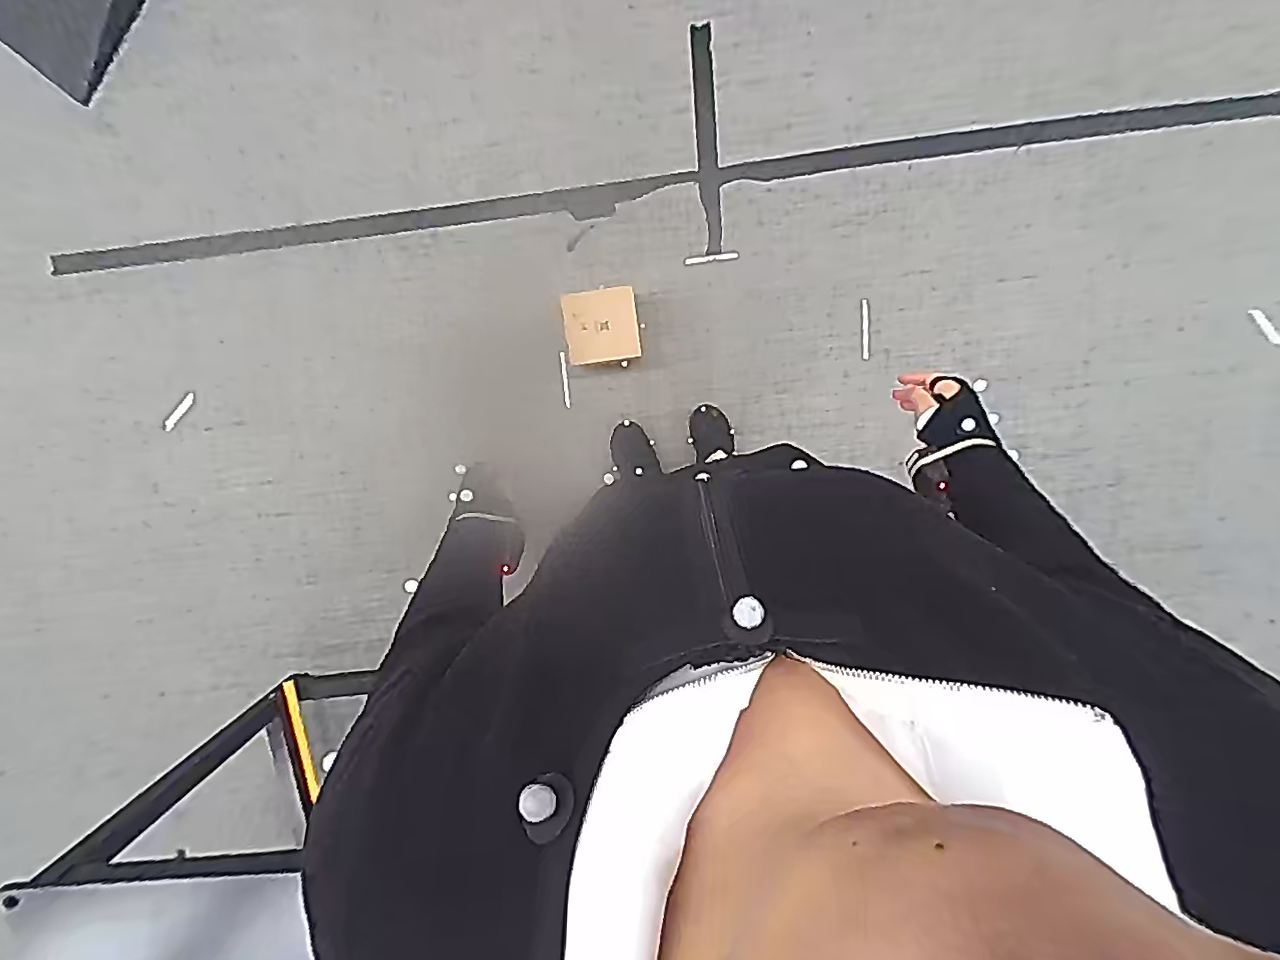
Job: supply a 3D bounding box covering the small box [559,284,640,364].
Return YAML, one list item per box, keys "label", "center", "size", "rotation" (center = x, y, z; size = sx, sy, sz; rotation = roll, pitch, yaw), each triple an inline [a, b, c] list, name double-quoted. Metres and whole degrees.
- label: "small box"
  center: [-0.094, -0.385, 1.355]
  size: [0.179, 0.176, 0.168]
  rotation: [-7, 100, 3]
